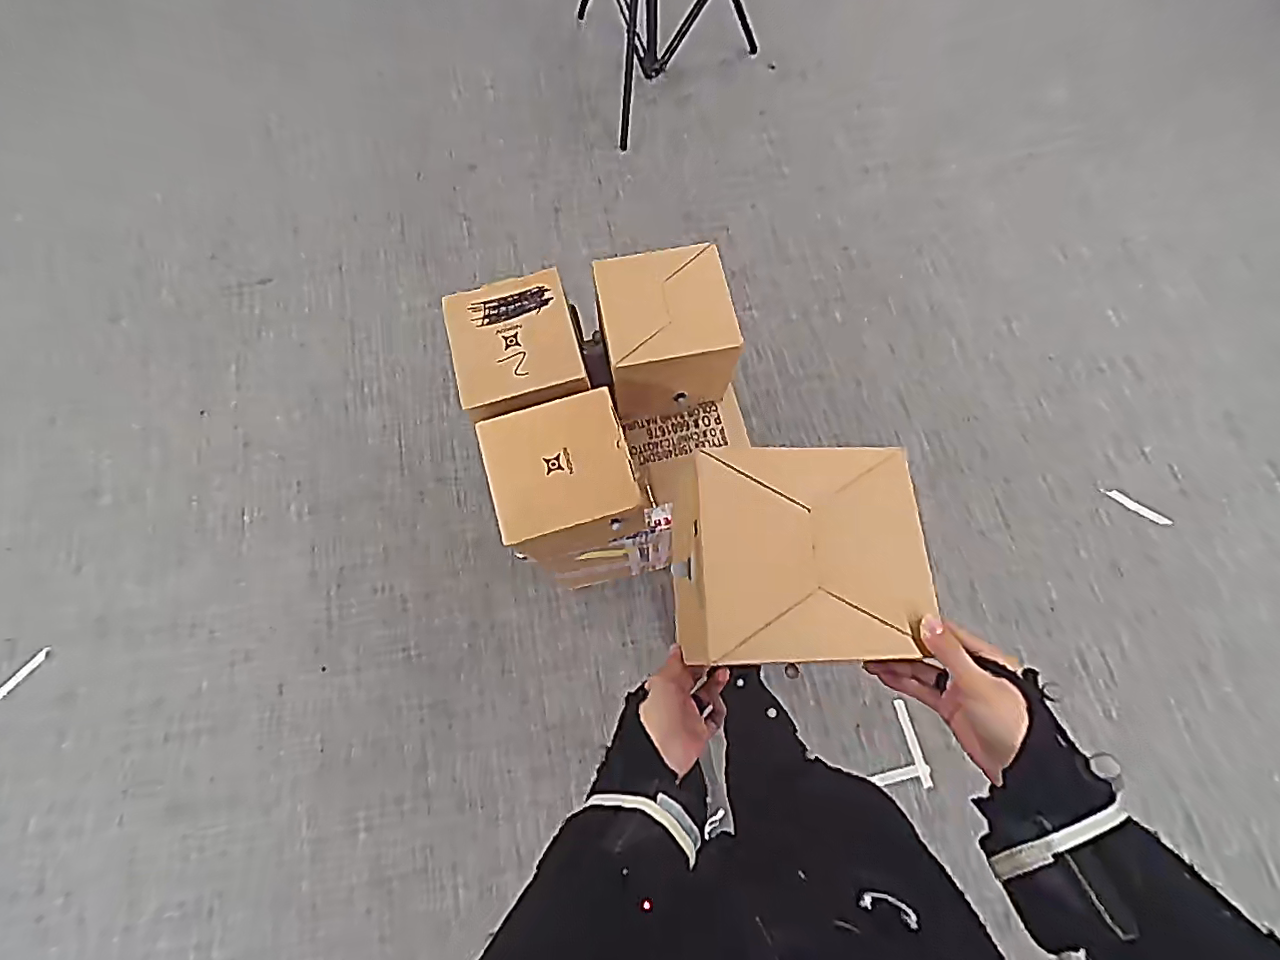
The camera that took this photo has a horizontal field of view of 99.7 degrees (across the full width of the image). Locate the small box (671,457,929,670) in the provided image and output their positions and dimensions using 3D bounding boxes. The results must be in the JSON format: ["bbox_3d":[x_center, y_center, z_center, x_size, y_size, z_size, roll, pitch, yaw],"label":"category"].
[{"bbox_3d":[0.129,0.085,0.498,0.179,0.176,0.168,0,70,-5],"label":"small box"}]
